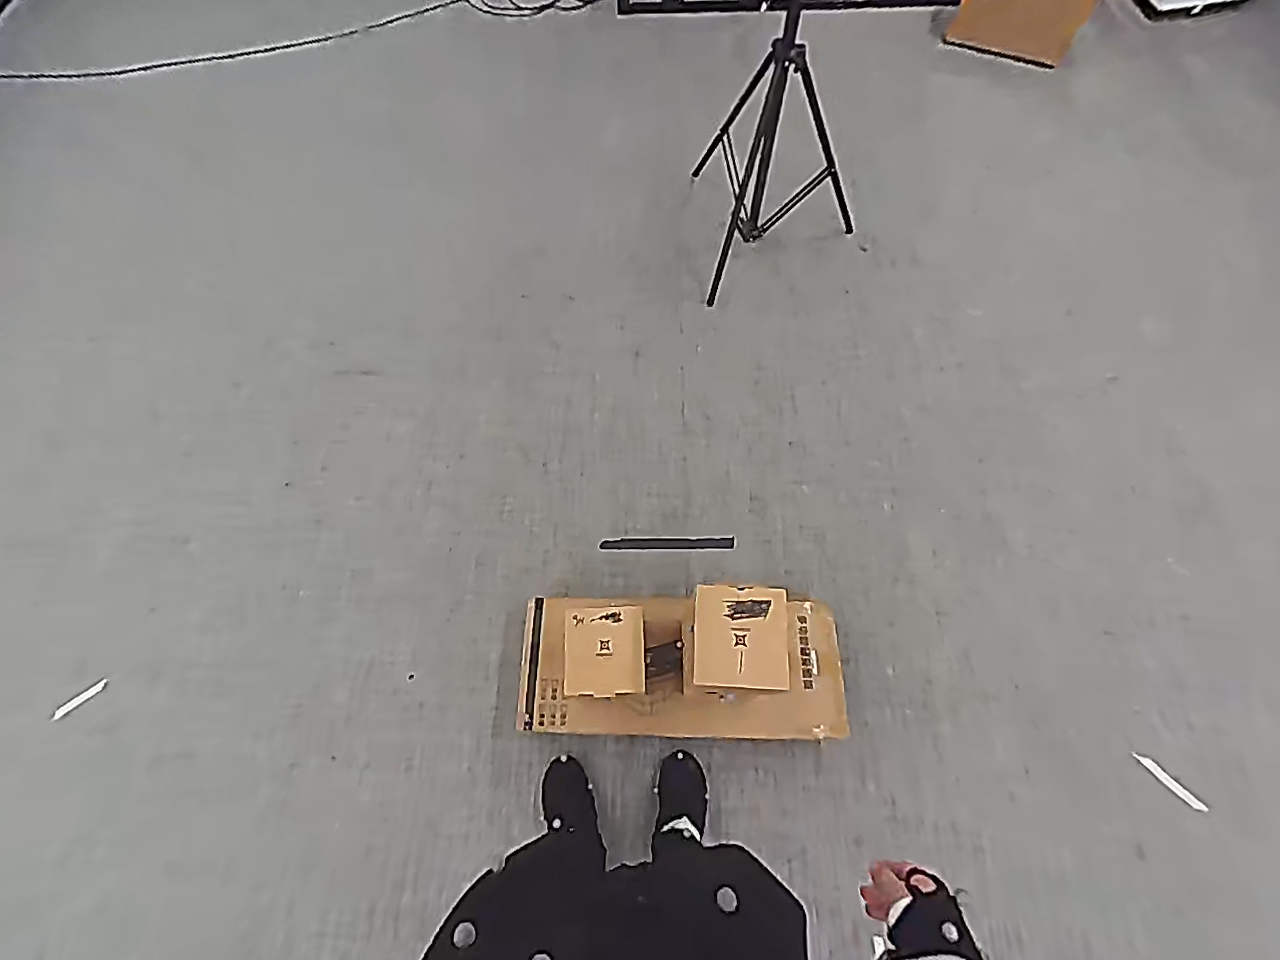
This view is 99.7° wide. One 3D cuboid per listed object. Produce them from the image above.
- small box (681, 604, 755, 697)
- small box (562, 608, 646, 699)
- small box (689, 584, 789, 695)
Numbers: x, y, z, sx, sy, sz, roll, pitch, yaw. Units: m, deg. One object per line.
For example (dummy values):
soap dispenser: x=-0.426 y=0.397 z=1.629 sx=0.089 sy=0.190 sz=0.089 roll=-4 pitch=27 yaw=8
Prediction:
small box: x=0.176 y=0.374 z=1.179 sx=0.168 sy=0.176 sz=0.179 roll=-1 pitch=67 yaw=2
small box: x=-0.073 y=0.382 z=1.183 sx=0.168 sy=0.176 sz=0.179 roll=-2 pitch=67 yaw=1
small box: x=0.180 y=0.307 z=1.029 sx=0.168 sy=0.176 sz=0.179 roll=3 pitch=67 yaw=3
